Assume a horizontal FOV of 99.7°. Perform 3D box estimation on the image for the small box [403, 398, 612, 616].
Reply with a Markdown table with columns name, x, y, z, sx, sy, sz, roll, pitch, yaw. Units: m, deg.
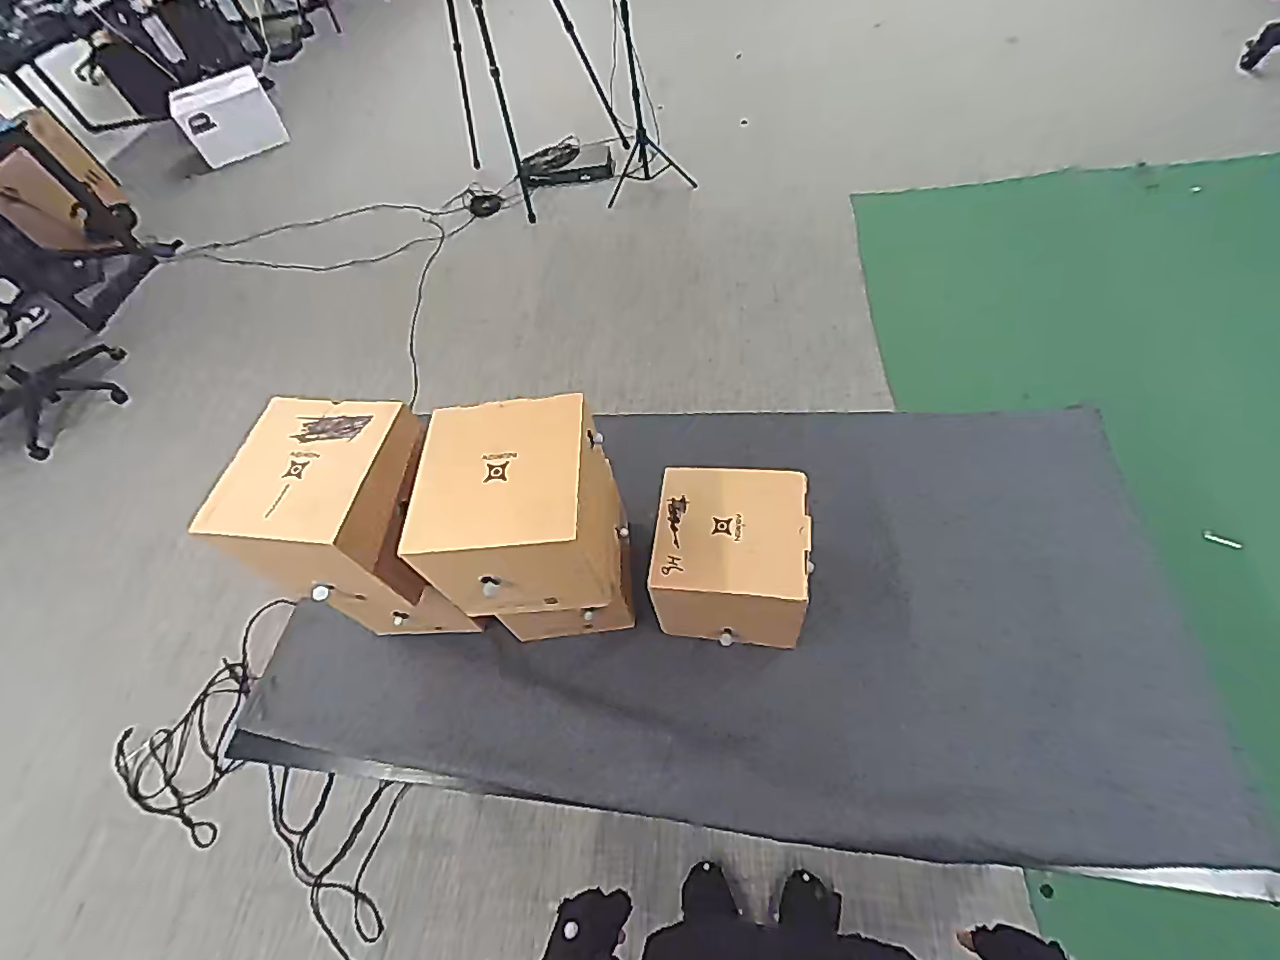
| name | x | y | z | sx | sy | sz | roll | pitch | yaw |
| --- | --- | --- | --- | --- | --- | --- | --- | --- | --- |
| small box | -0.124 | 0.039 | 0.587 | 0.168 | 0.176 | 0.179 | -6 | 55 | 5 |
